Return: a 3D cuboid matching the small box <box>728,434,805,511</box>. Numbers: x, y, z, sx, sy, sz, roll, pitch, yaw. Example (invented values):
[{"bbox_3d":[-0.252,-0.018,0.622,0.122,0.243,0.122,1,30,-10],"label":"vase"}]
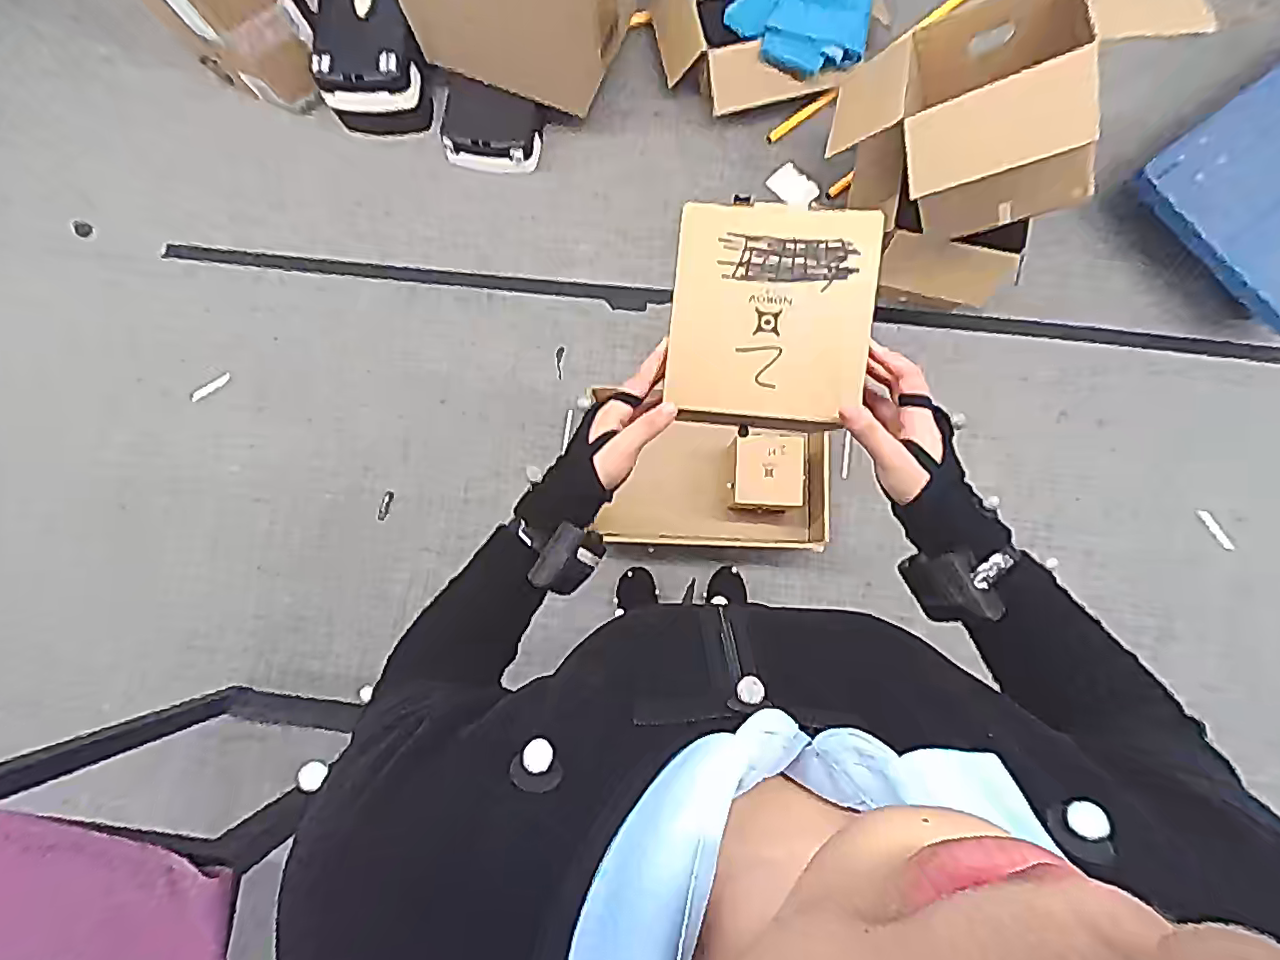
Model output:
[{"bbox_3d":[0.323,-0.014,1.403,0.168,0.176,0.179,3,82,2],"label":"small box"}]
